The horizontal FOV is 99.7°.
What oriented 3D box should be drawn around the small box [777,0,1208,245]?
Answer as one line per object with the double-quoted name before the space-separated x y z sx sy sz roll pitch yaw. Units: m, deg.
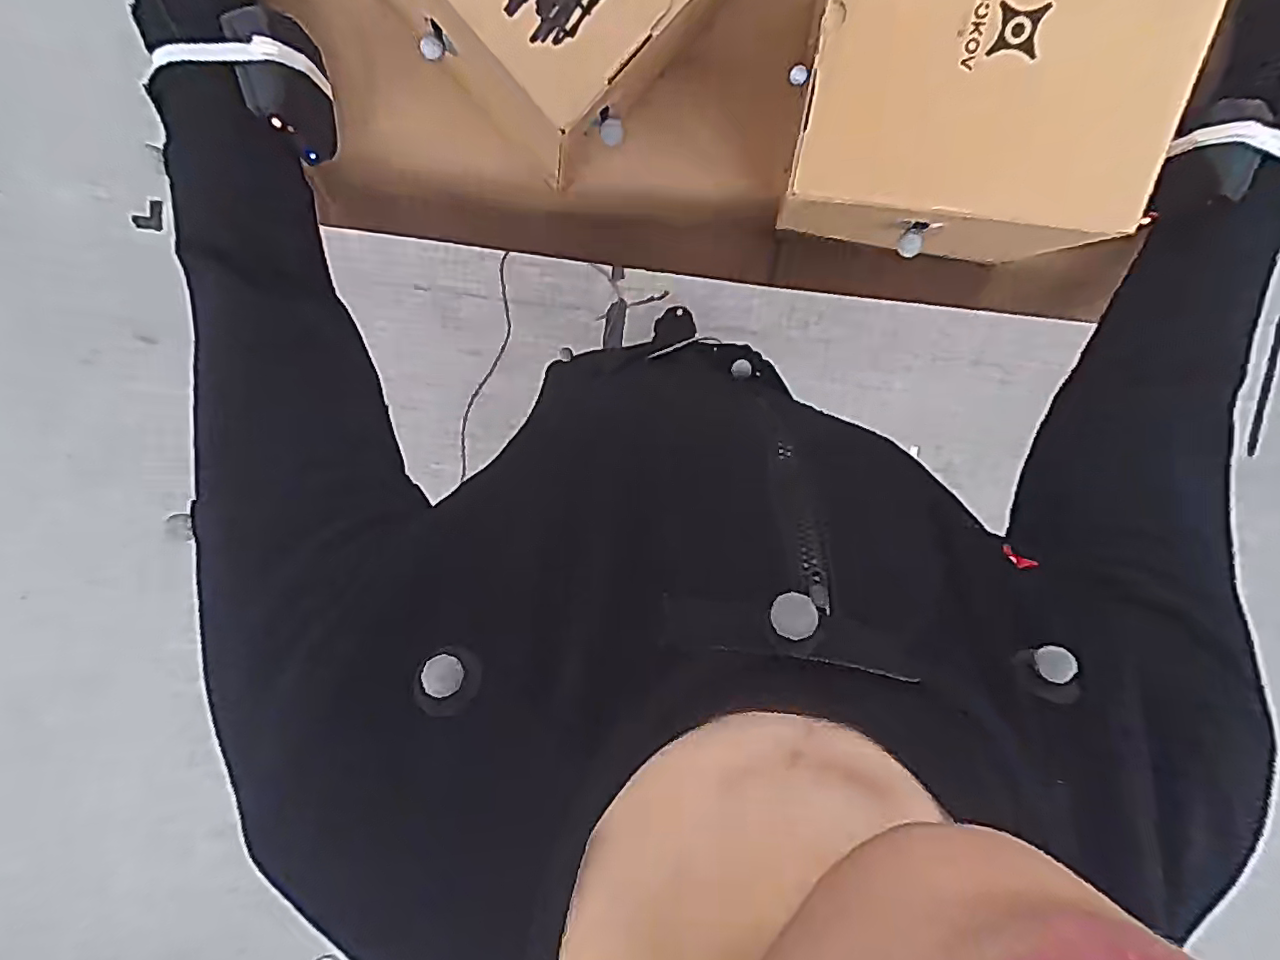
"small box" 0.192 -0.252 0.338 0.179 0.176 0.168 12 109 9
